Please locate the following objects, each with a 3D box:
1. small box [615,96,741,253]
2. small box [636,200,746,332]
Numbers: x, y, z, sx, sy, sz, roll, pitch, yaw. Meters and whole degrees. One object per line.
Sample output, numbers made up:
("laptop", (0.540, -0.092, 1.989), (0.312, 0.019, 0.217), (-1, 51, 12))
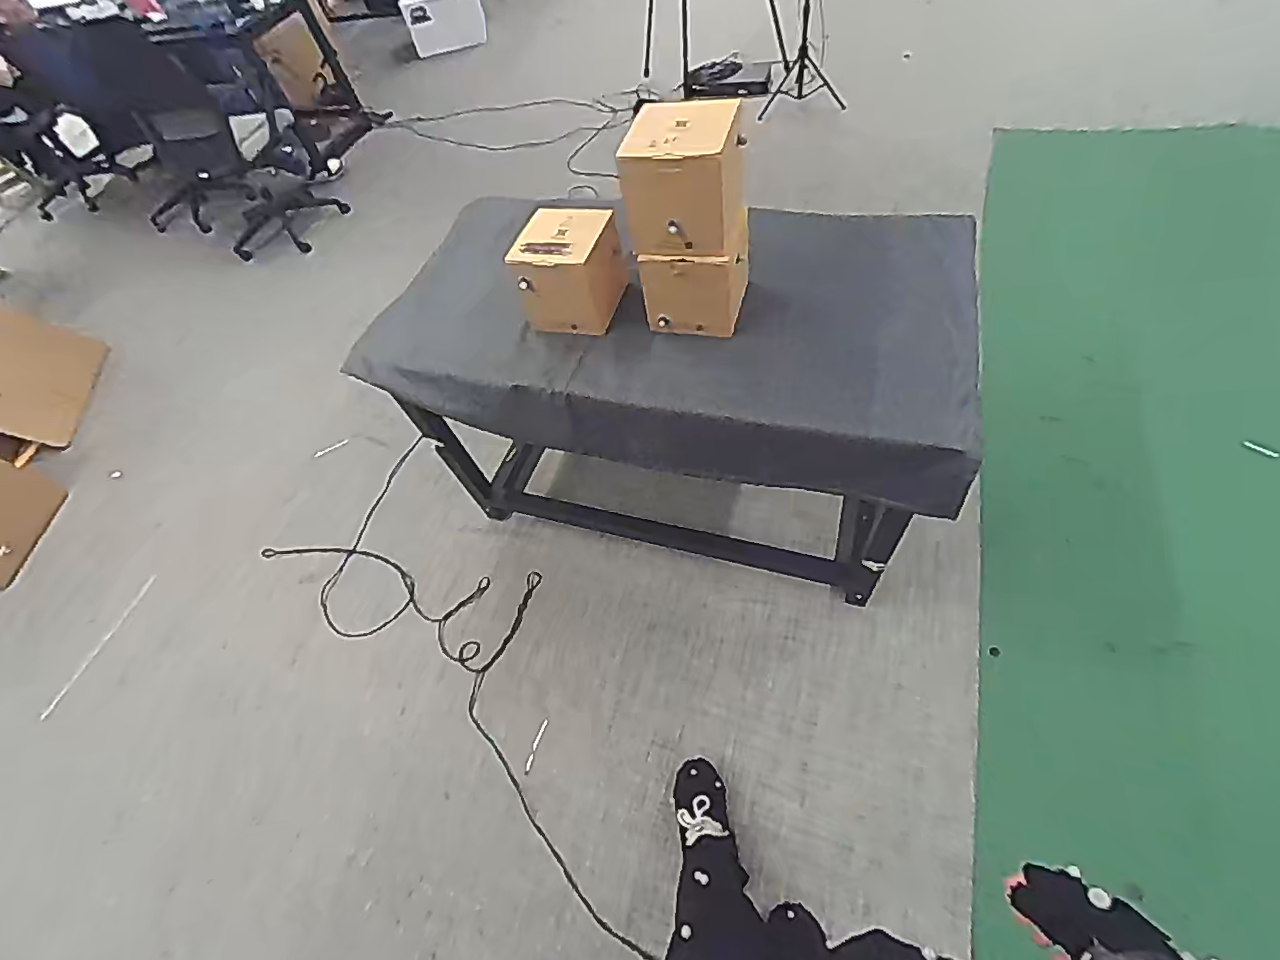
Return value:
("small box", (0.072, -0.507, 0.905), (0.168, 0.176, 0.179), (8, 60, 17))
("small box", (0.107, -0.404, 1.029), (0.168, 0.176, 0.179), (10, 59, 17))
